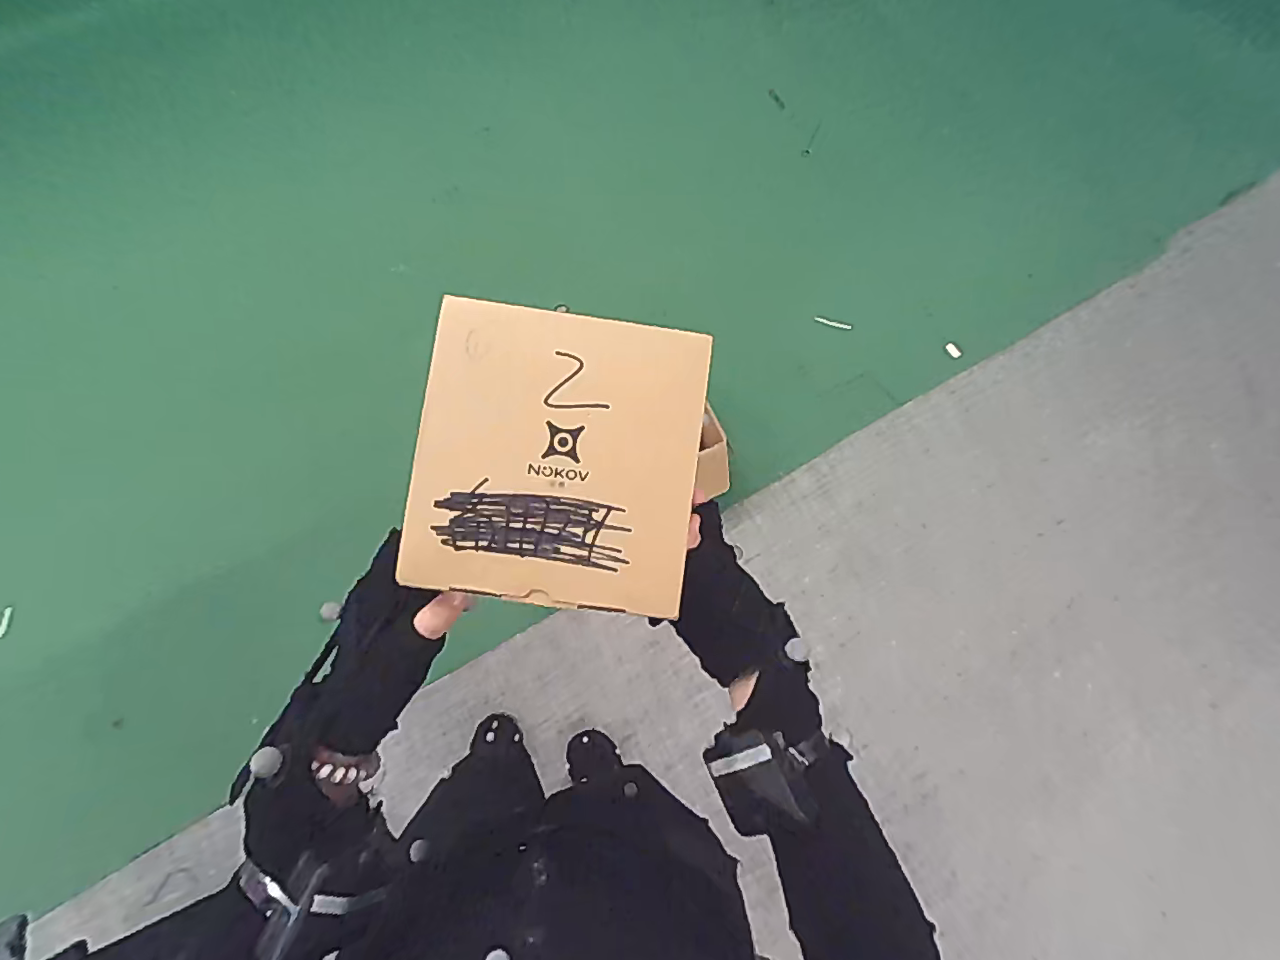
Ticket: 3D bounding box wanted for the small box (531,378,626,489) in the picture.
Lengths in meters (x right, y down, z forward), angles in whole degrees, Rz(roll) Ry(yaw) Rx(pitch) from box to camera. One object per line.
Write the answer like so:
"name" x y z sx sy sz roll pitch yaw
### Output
"small box" -0.138 -0.104 1.265 0.168 0.176 0.179 -21 71 -6
